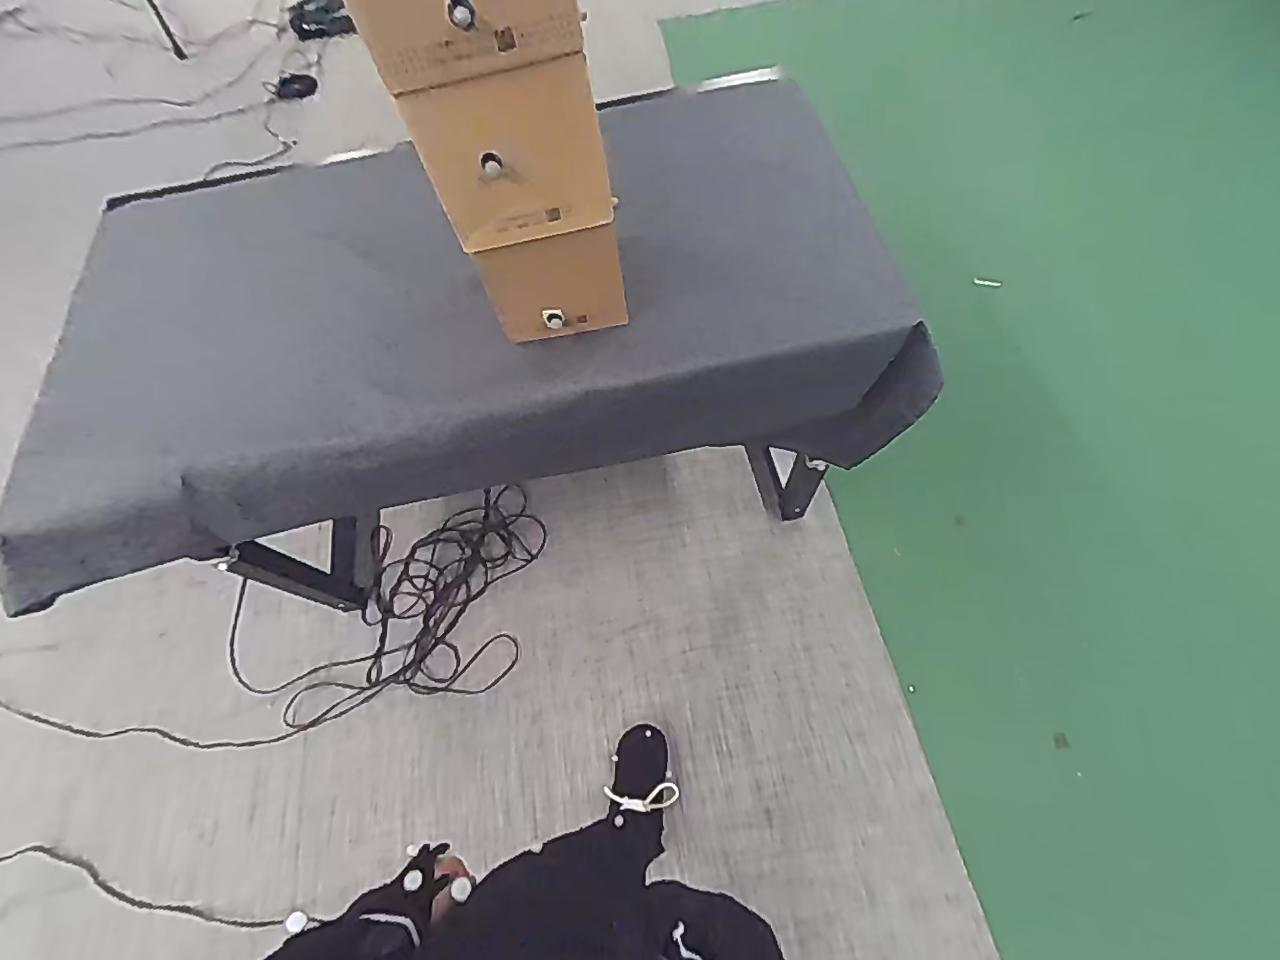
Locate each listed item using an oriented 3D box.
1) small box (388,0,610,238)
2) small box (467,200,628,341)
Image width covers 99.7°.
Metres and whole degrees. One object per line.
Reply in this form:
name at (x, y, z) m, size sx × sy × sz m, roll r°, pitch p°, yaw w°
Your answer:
small box at (-0.132, -0.371, 0.546) m, size 0.168 × 0.176 × 0.179 m, roll -13°, pitch 63°, yaw 0°
small box at (-0.115, -0.310, 0.696) m, size 0.168 × 0.176 × 0.179 m, roll -11°, pitch 65°, yaw 1°
